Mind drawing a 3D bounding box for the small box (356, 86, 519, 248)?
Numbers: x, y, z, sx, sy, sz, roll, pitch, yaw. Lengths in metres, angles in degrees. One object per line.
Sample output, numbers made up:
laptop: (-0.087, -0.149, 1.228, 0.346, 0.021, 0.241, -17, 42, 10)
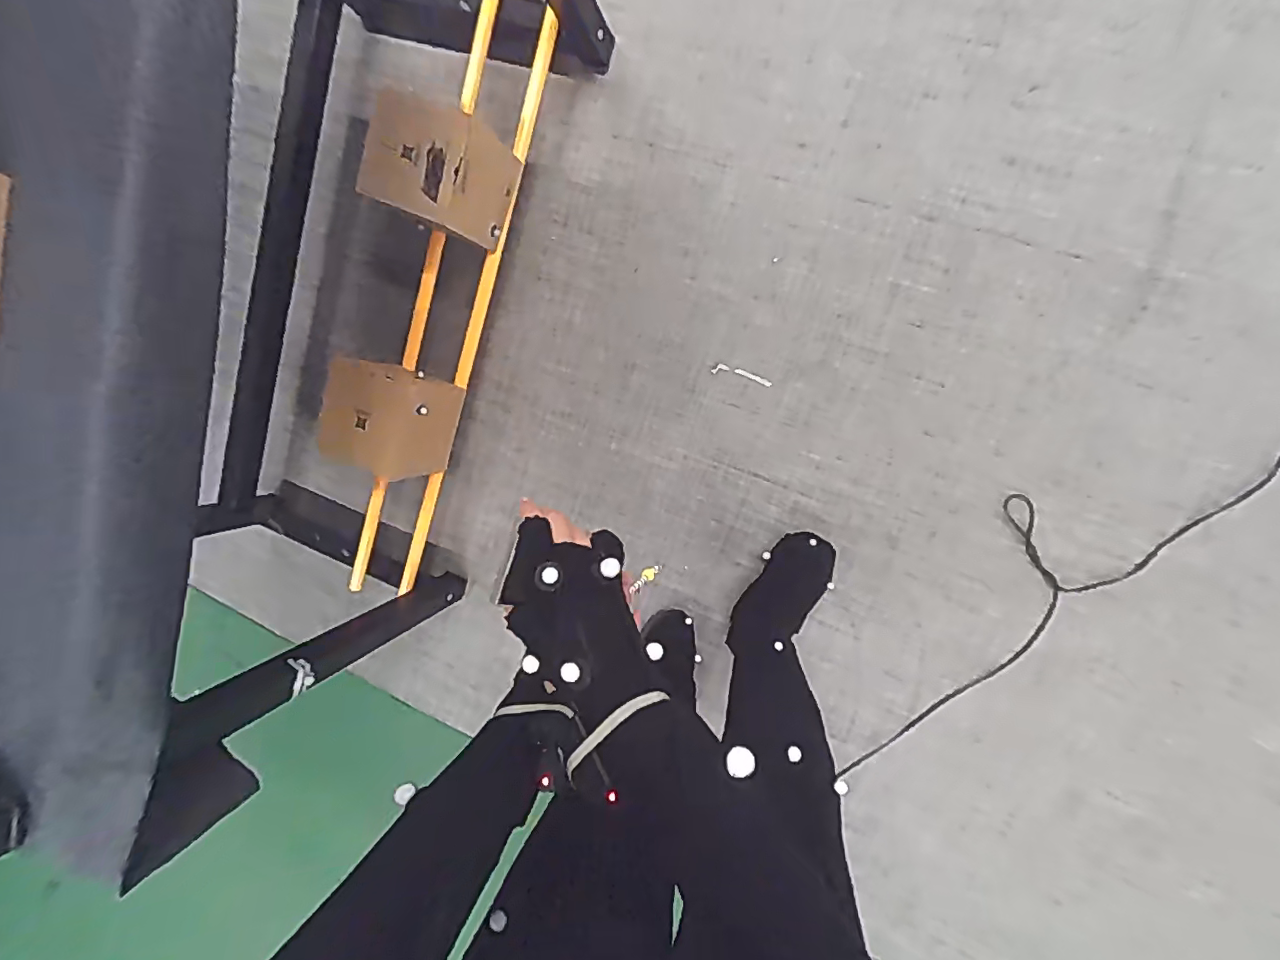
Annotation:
small box: (-0.333, -0.515, 0.918, 0.179, 0.176, 0.168, 25, 102, 11)
